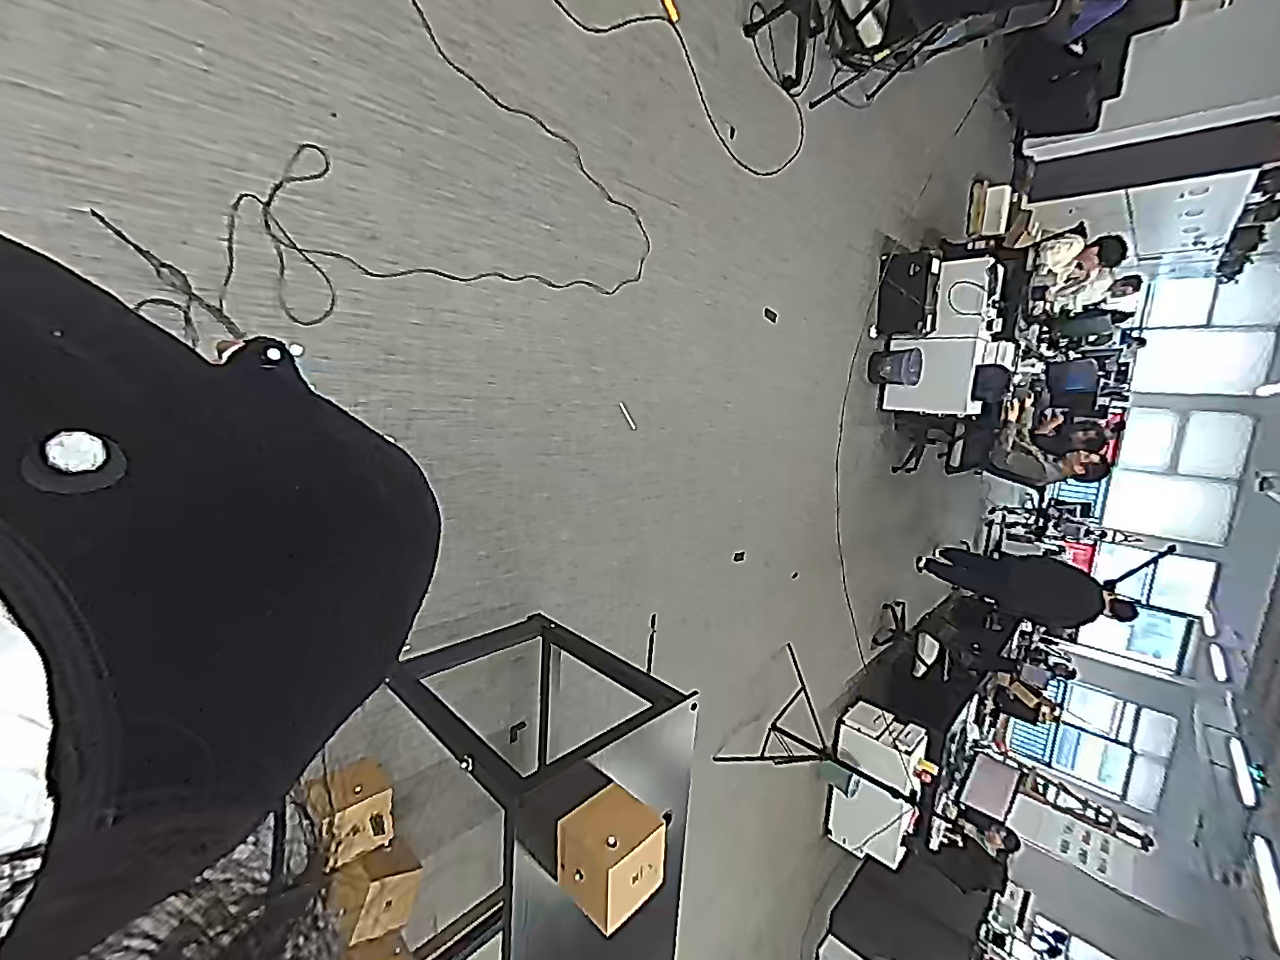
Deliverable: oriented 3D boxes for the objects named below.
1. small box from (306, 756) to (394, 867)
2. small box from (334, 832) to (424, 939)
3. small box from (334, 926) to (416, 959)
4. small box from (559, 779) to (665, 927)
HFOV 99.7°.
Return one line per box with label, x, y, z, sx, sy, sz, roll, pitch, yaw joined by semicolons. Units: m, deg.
small box;-0.812;0.915;1.515;0.179;0.176;0.168;-8;105;-44
small box;-0.785;1.199;1.614;0.168;0.176;0.179;24;81;-48
small box;-0.817;1.498;1.648;0.168;0.176;0.179;-56;134;-22
small box;-0.066;0.818;1.207;0.179;0.176;0.168;-10;108;-46
